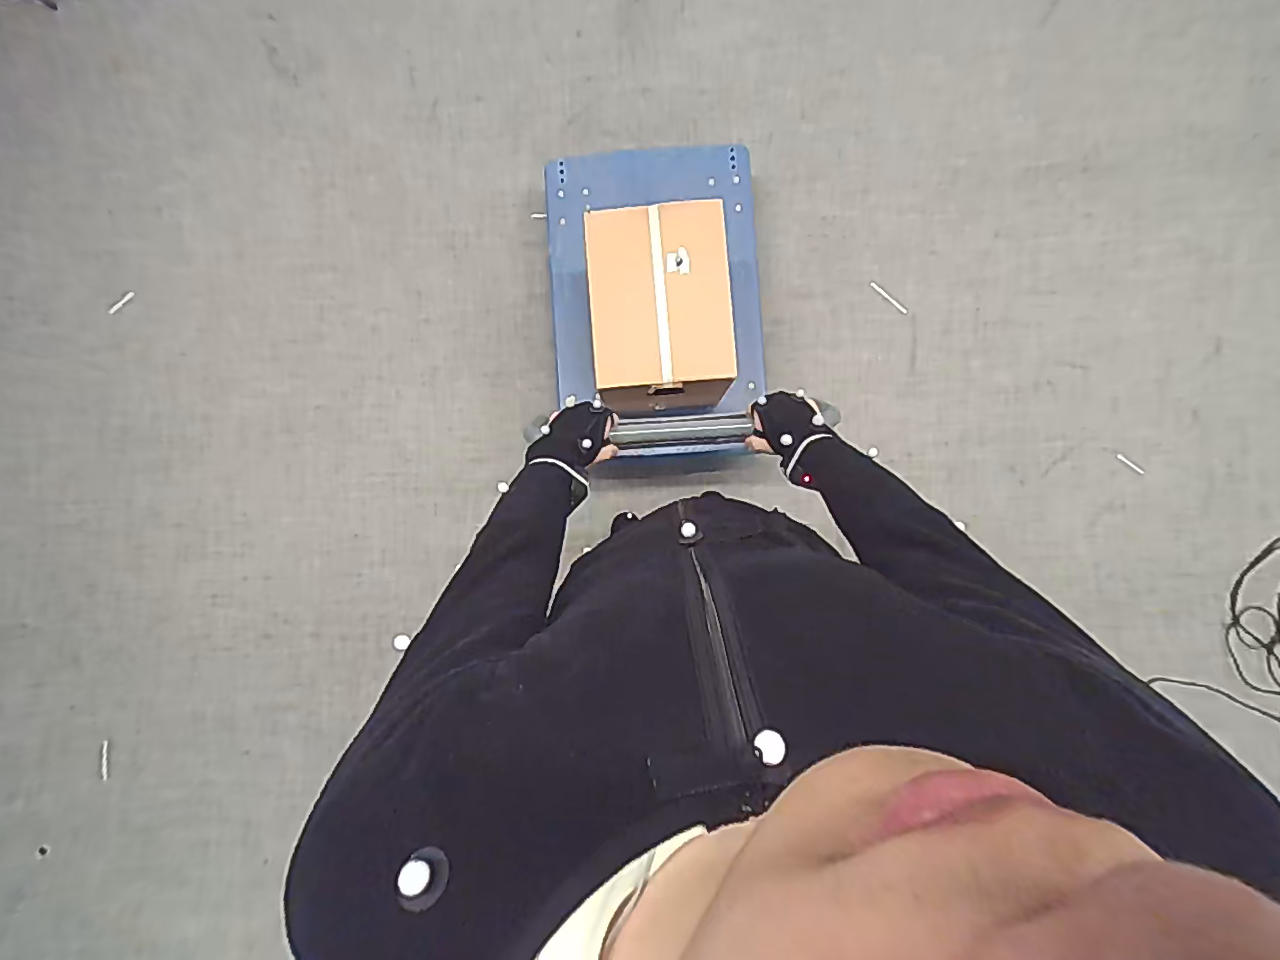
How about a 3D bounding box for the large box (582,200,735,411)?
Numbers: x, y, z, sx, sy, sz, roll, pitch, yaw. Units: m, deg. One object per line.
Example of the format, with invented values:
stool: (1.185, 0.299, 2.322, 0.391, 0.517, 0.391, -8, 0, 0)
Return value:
large box: (0.045, -0.408, 1.350, 0.320, 0.320, 0.408, -5, 87, 1)
